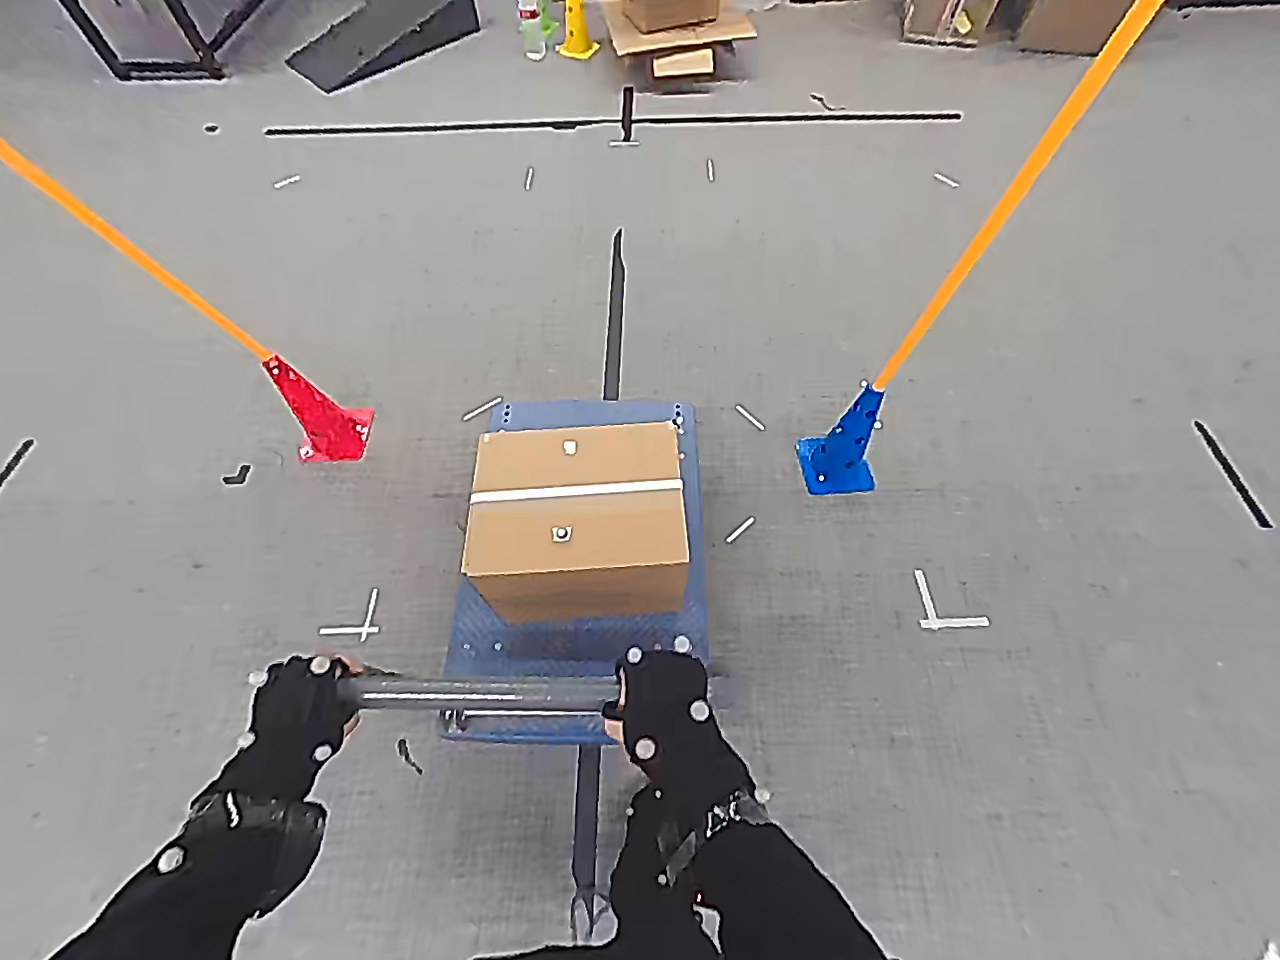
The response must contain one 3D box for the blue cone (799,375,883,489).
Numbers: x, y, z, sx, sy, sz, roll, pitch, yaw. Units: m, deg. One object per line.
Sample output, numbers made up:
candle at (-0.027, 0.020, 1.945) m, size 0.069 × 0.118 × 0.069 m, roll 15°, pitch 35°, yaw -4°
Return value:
blue cone at (0.583, -0.140, 1.480) m, size 0.193 × 0.380 × 0.192 m, roll -3°, pitch 59°, yaw -1°
